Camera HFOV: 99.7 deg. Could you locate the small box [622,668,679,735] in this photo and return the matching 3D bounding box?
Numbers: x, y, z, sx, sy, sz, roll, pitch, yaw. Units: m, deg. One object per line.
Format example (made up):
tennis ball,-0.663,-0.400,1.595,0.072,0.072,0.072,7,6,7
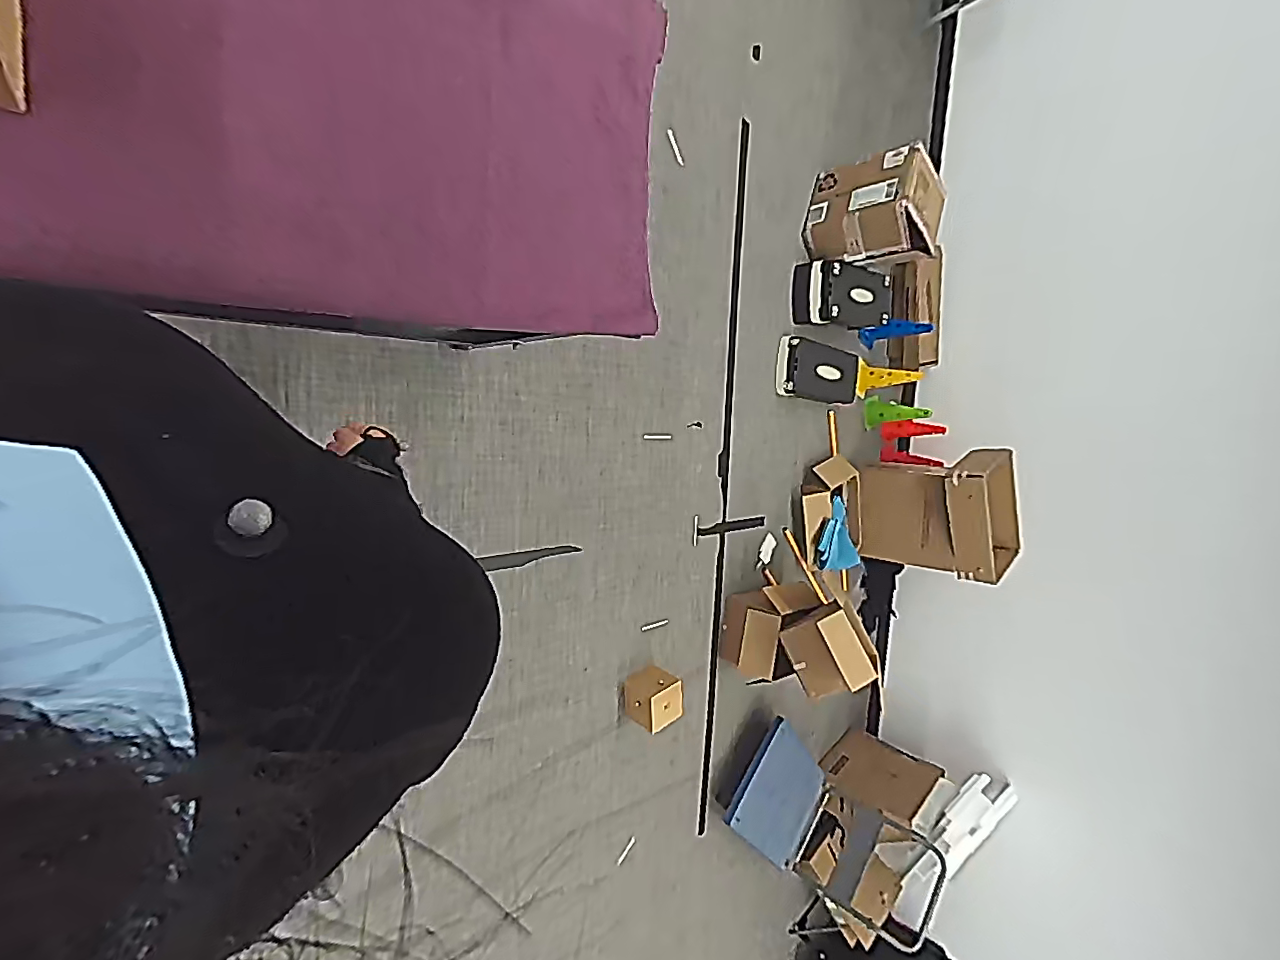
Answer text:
small box,0.037,0.901,2.217,0.179,0.176,0.168,-13,106,-42
